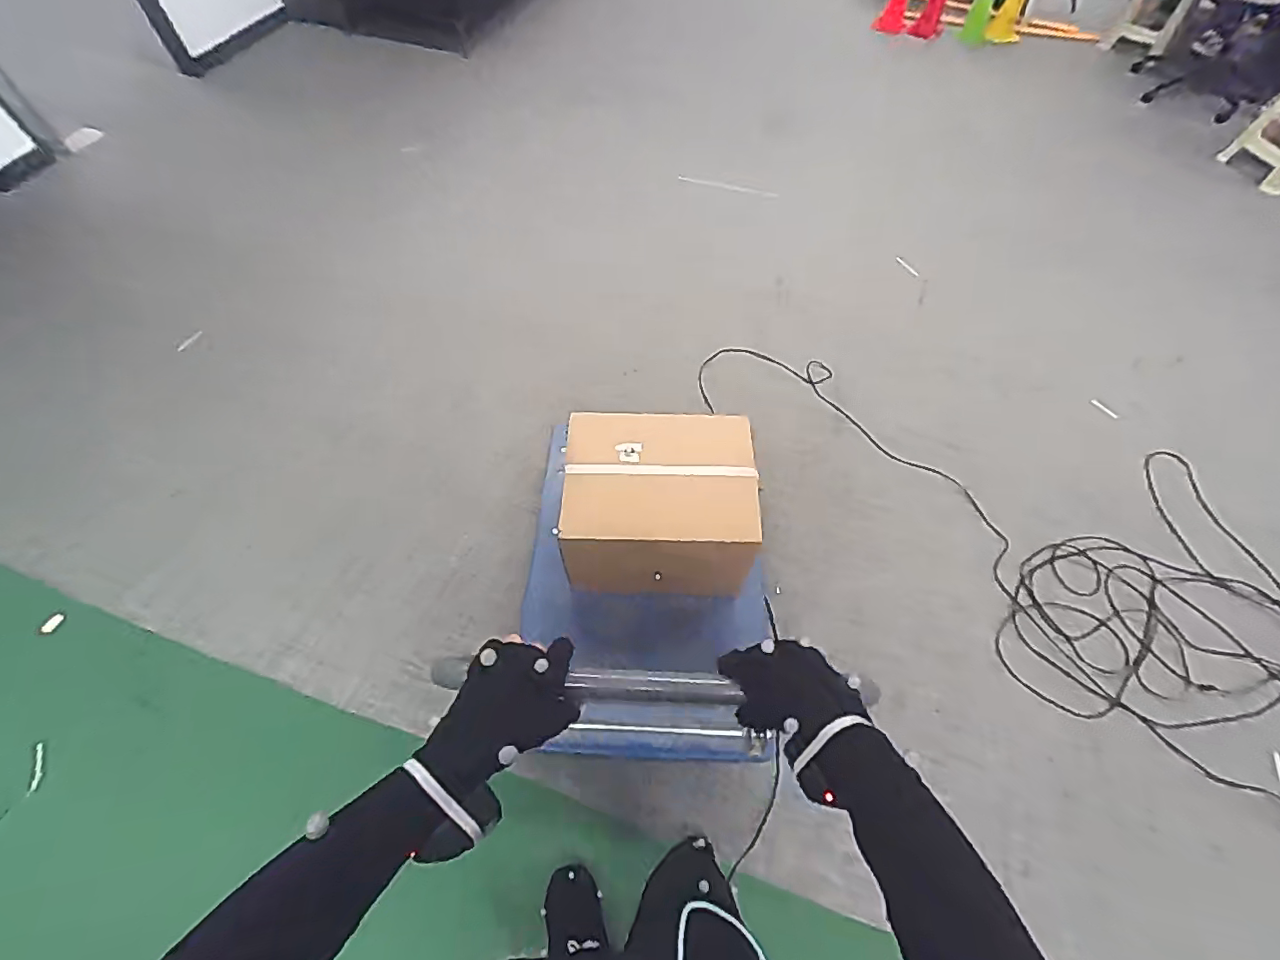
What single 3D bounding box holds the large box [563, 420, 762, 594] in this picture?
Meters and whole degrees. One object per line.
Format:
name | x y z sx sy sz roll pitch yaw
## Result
large box | 0.045 0.073 1.271 0.408 0.320 0.320 0 58 0
